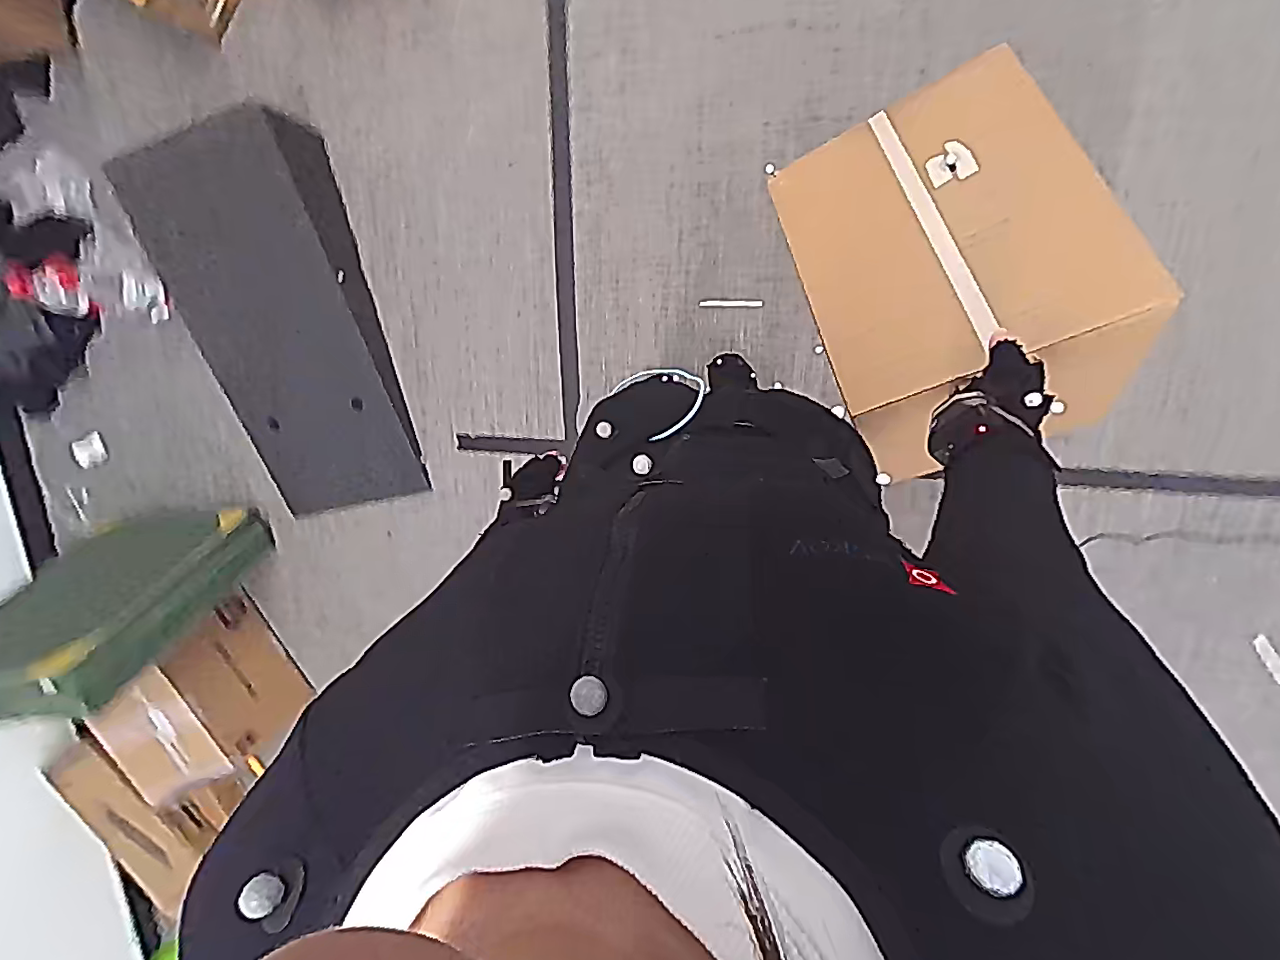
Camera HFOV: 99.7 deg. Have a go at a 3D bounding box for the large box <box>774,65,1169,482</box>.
[{"bbox_3d":[0.432,-0.260,0.790,0.320,0.320,0.408,-19,65,22],"label":"large box"}]
